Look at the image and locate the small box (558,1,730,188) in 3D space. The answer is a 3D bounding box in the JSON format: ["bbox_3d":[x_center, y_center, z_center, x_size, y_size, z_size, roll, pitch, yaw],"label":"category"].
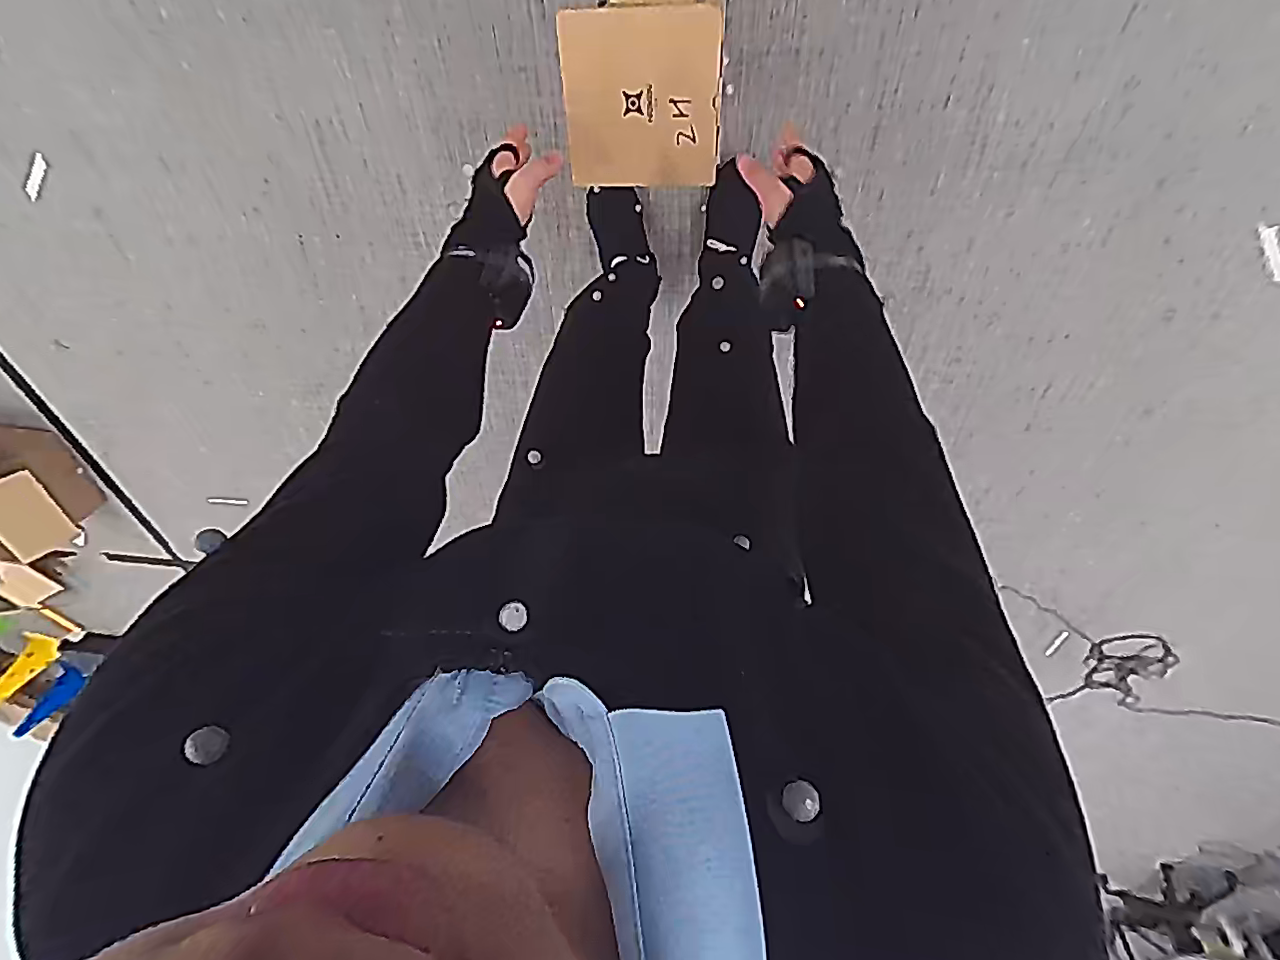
[{"bbox_3d":[0.013,-0.462,0.648,0.179,0.176,0.168,3,132,6],"label":"small box"}]
